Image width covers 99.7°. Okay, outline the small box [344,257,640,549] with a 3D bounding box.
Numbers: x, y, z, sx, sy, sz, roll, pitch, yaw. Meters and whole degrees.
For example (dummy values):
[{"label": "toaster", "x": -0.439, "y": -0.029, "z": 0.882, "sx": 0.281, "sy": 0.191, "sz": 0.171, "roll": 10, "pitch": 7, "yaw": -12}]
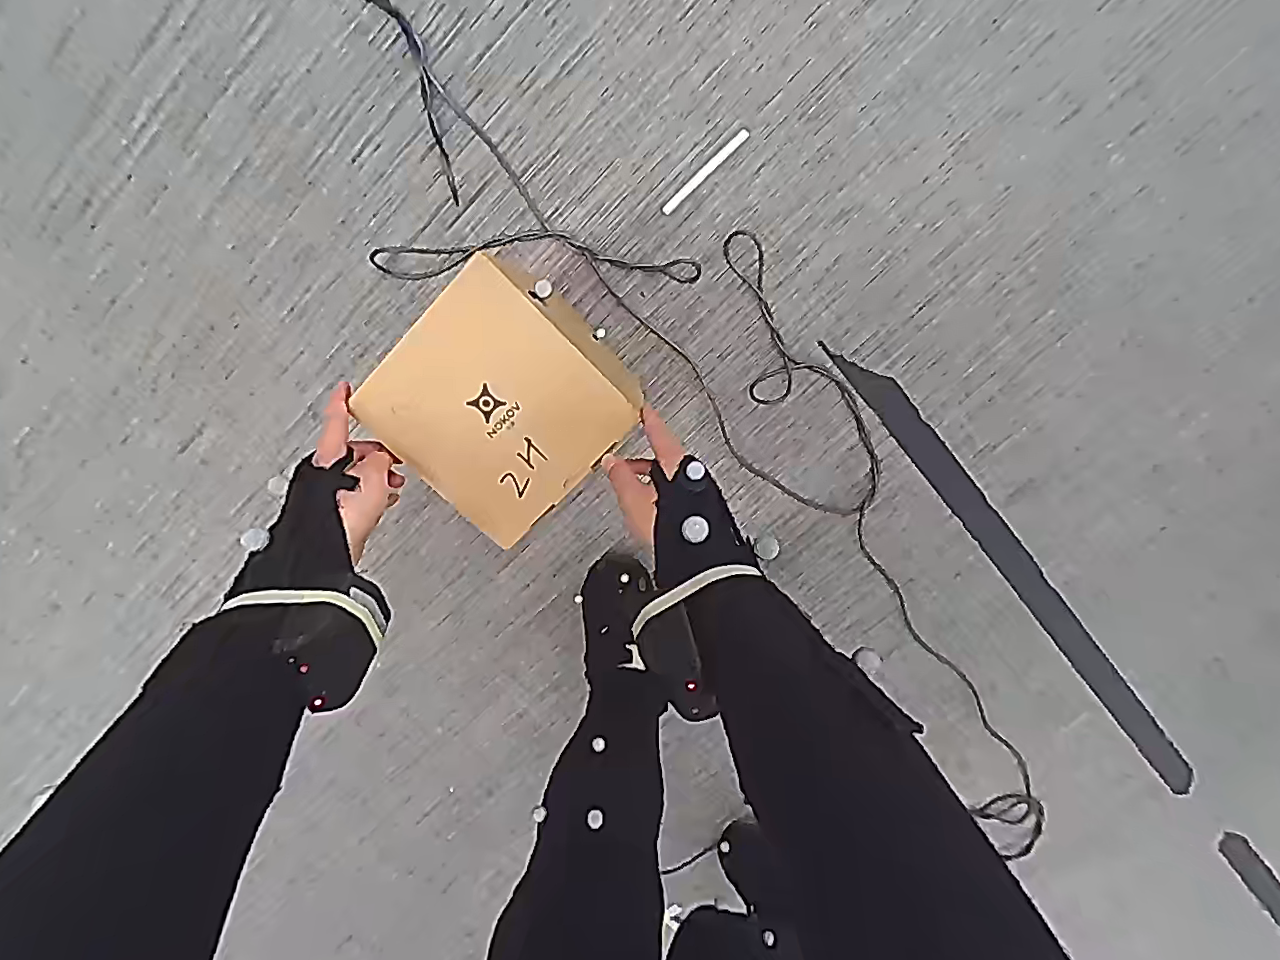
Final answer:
[{"label": "small box", "x": -0.118, "y": -0.072, "z": 0.504, "sx": 0.168, "sy": 0.176, "sz": 0.179, "roll": -43, "pitch": 102, "yaw": 10}]
